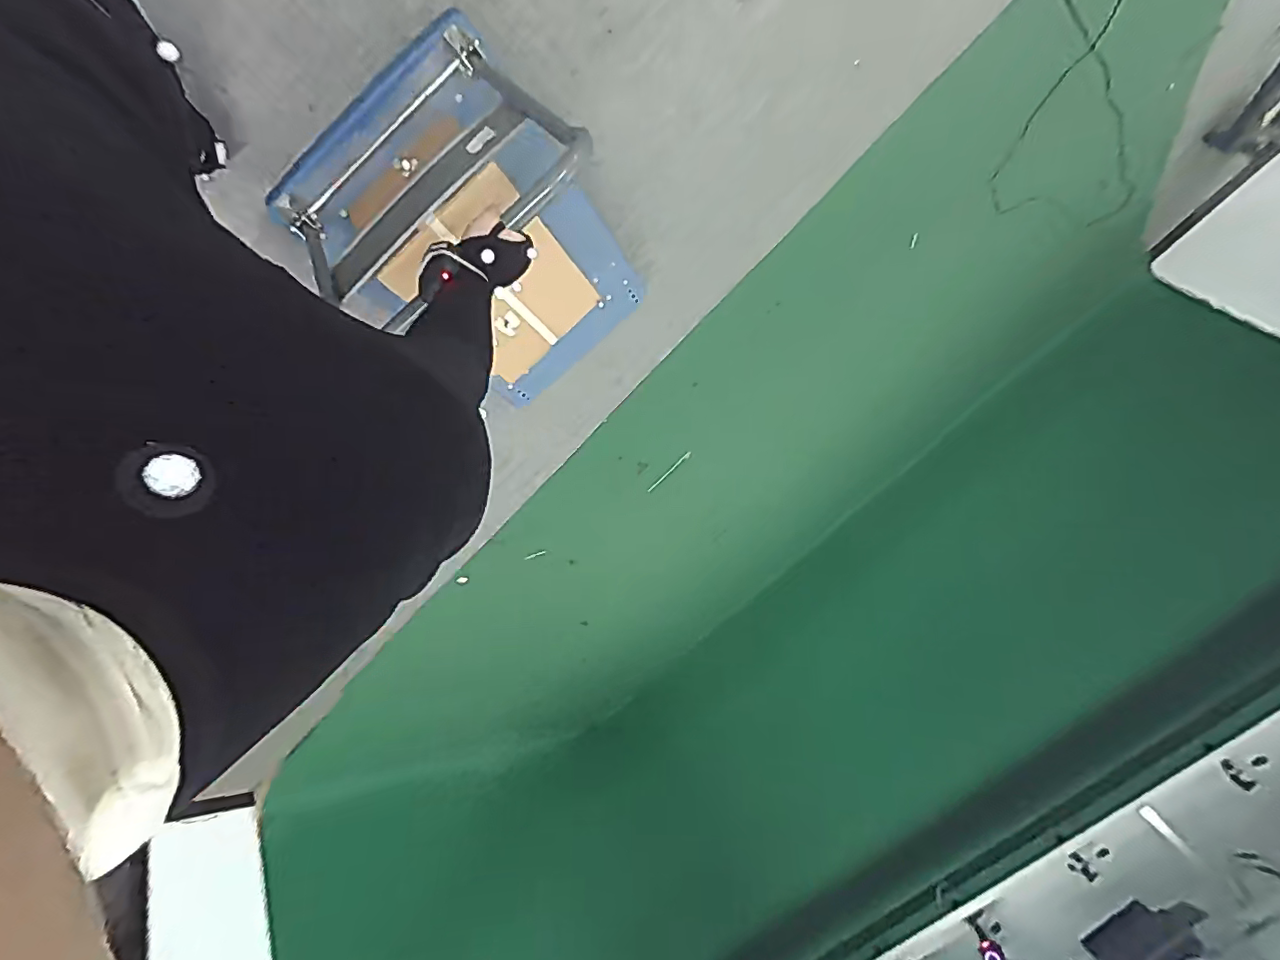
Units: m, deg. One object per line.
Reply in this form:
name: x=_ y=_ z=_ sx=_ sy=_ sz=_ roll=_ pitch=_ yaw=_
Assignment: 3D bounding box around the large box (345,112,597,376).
large box: x=-0.378 y=-0.522 z=1.243 sx=0.320 sy=0.320 sz=0.408 roll=-40 pitch=147 yaw=7
